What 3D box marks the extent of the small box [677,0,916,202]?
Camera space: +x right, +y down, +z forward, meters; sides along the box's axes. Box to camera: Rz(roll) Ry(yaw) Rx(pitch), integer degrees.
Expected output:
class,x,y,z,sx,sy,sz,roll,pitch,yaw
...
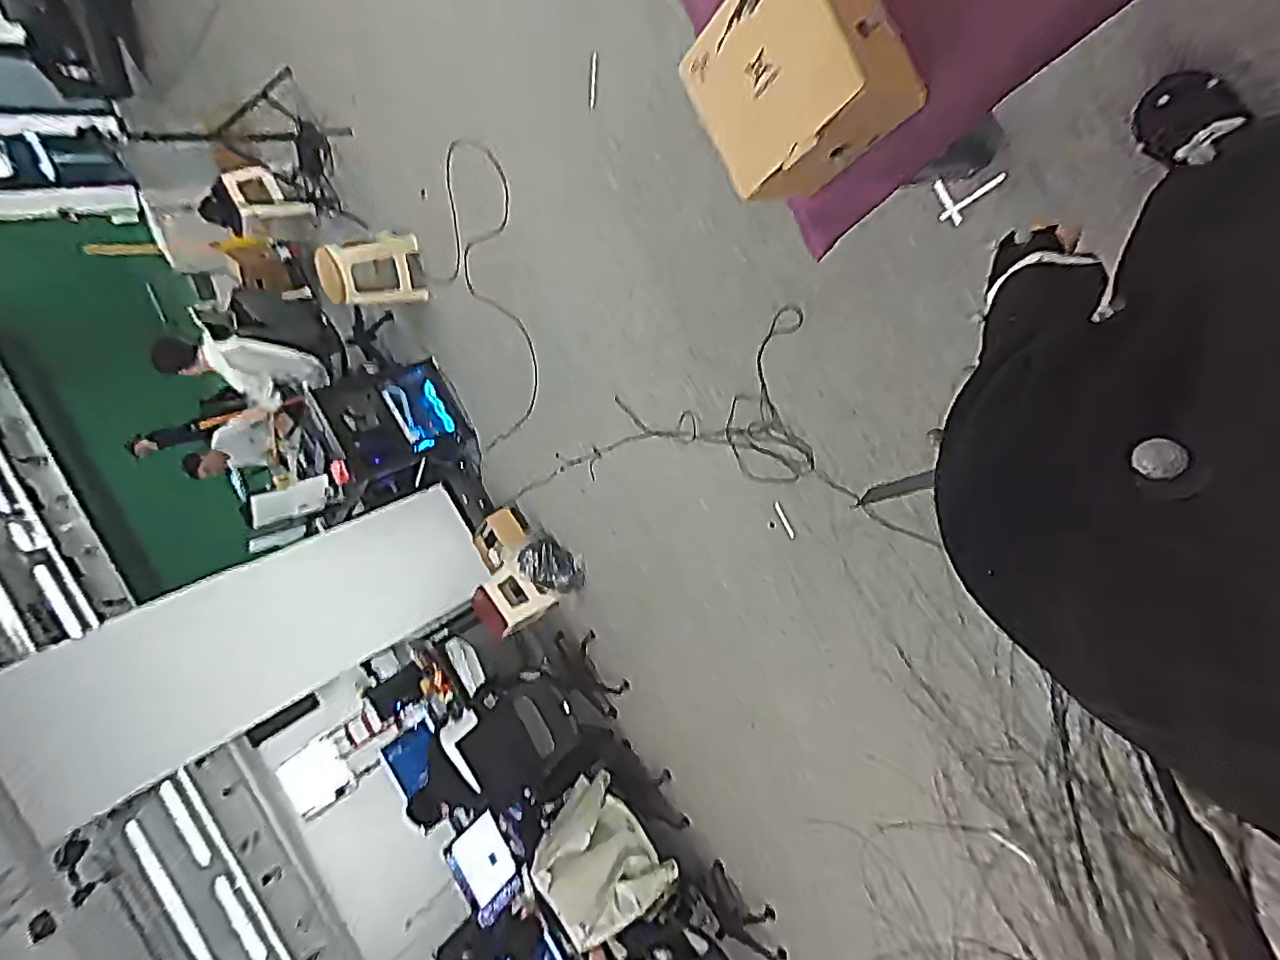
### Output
class,x,y,z,sx,sy,sz,roll,pitch,yaw
small box,0.182,-0.455,0.622,0.168,0.176,0.179,-25,94,51
